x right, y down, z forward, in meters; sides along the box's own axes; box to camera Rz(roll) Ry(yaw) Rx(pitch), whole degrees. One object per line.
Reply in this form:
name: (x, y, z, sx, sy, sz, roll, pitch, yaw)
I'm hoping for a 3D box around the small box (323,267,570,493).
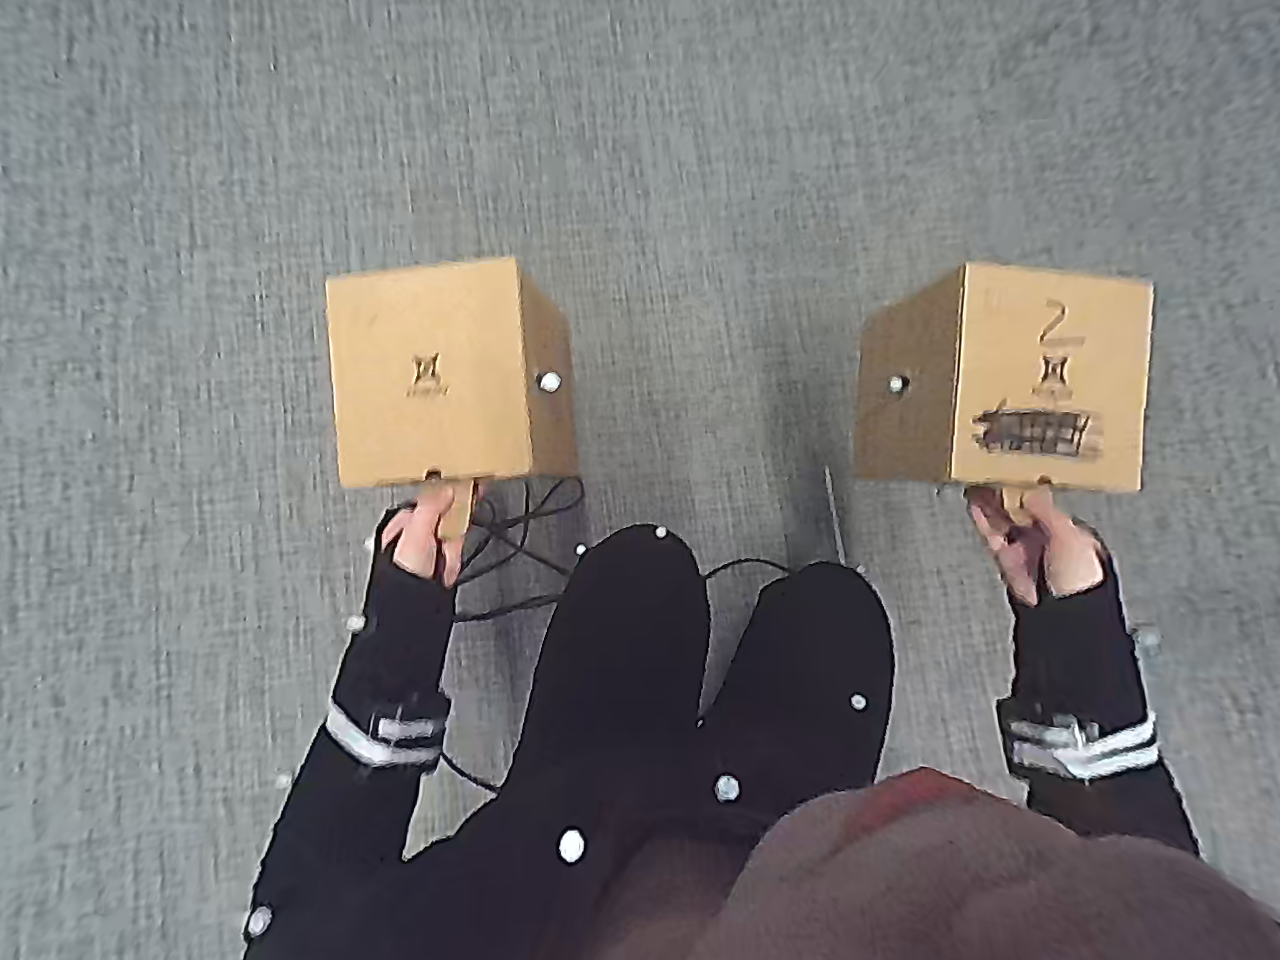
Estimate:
small box: (-0.171, -0.080, 0.524, 0.168, 0.176, 0.179, -5, 90, 7)
